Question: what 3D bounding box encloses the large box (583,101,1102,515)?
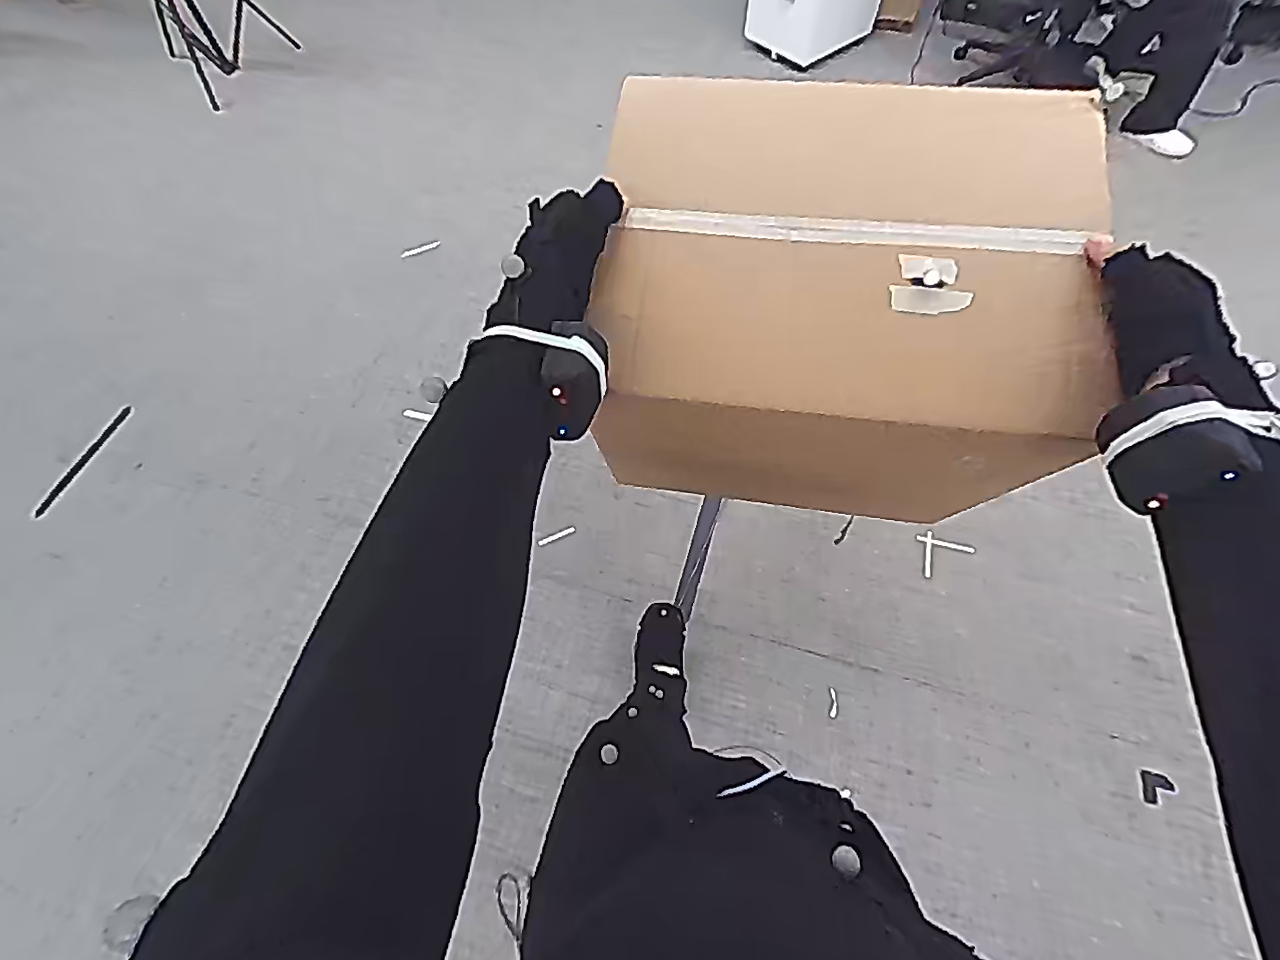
[{"bbox_3d":[0.179,-0.159,0.601,0.408,0.320,0.320,7,77,7],"label":"large box"}]
